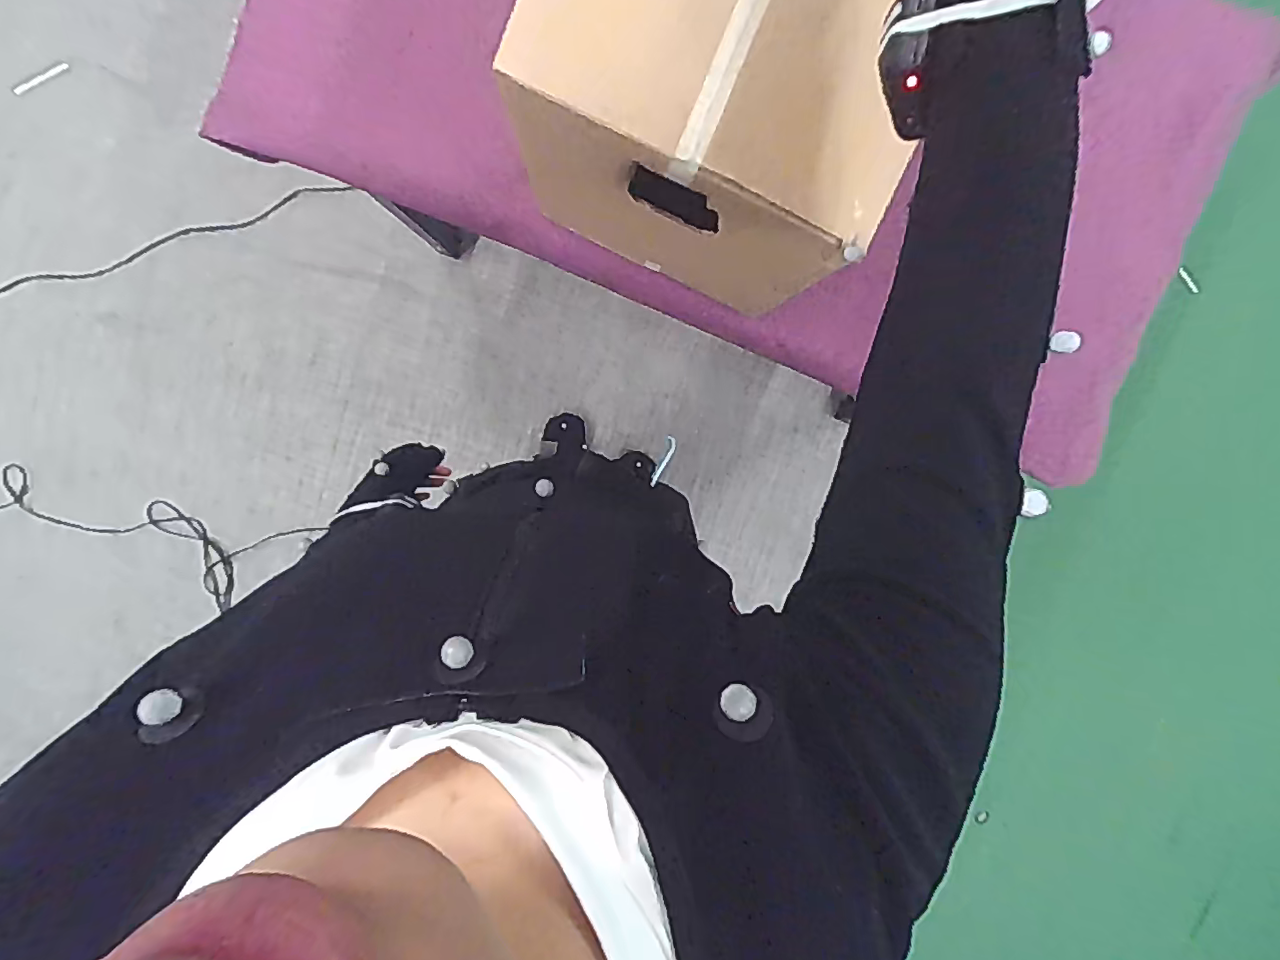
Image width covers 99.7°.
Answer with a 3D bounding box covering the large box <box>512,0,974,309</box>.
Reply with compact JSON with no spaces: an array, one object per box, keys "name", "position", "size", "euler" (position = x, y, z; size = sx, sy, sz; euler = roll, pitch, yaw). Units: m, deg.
[{"name":"large box","position":[0.107,-0.446,0.554],"size":[0.320,0.320,0.408],"euler":[24,96,-6]}]
